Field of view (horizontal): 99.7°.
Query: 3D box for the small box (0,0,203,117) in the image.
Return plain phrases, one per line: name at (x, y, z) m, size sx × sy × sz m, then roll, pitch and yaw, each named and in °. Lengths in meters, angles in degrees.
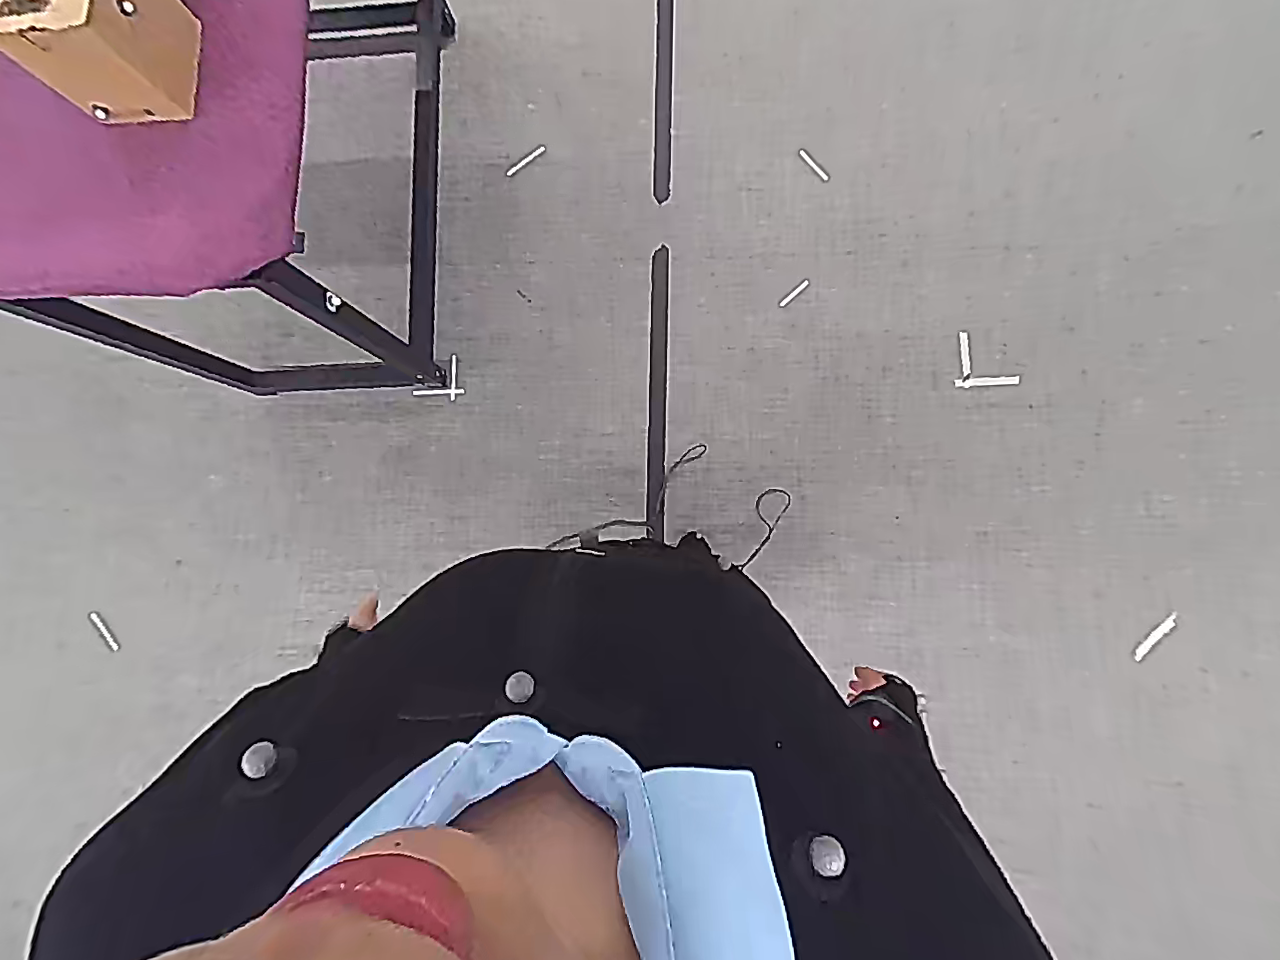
small box at (-0.819, -0.690, 0.828) m, size 0.168 × 0.176 × 0.179 m, roll 0°, pitch 84°, yaw 3°
